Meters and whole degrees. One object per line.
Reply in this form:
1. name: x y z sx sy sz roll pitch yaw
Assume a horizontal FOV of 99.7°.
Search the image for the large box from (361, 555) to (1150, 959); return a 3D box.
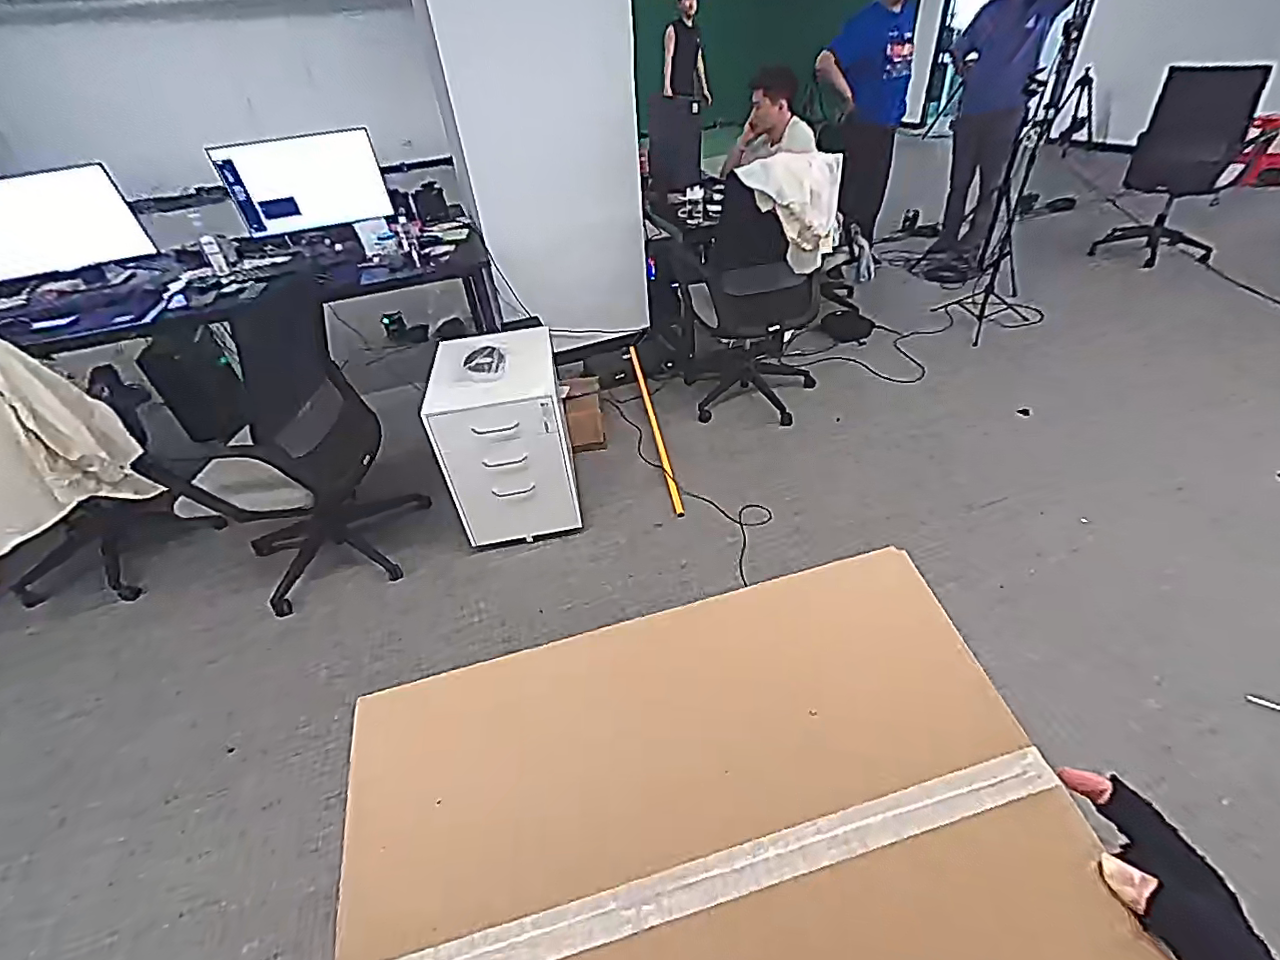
1. large box: 0.055 0.311 0.424 0.408 0.320 0.320 -15 51 -5
